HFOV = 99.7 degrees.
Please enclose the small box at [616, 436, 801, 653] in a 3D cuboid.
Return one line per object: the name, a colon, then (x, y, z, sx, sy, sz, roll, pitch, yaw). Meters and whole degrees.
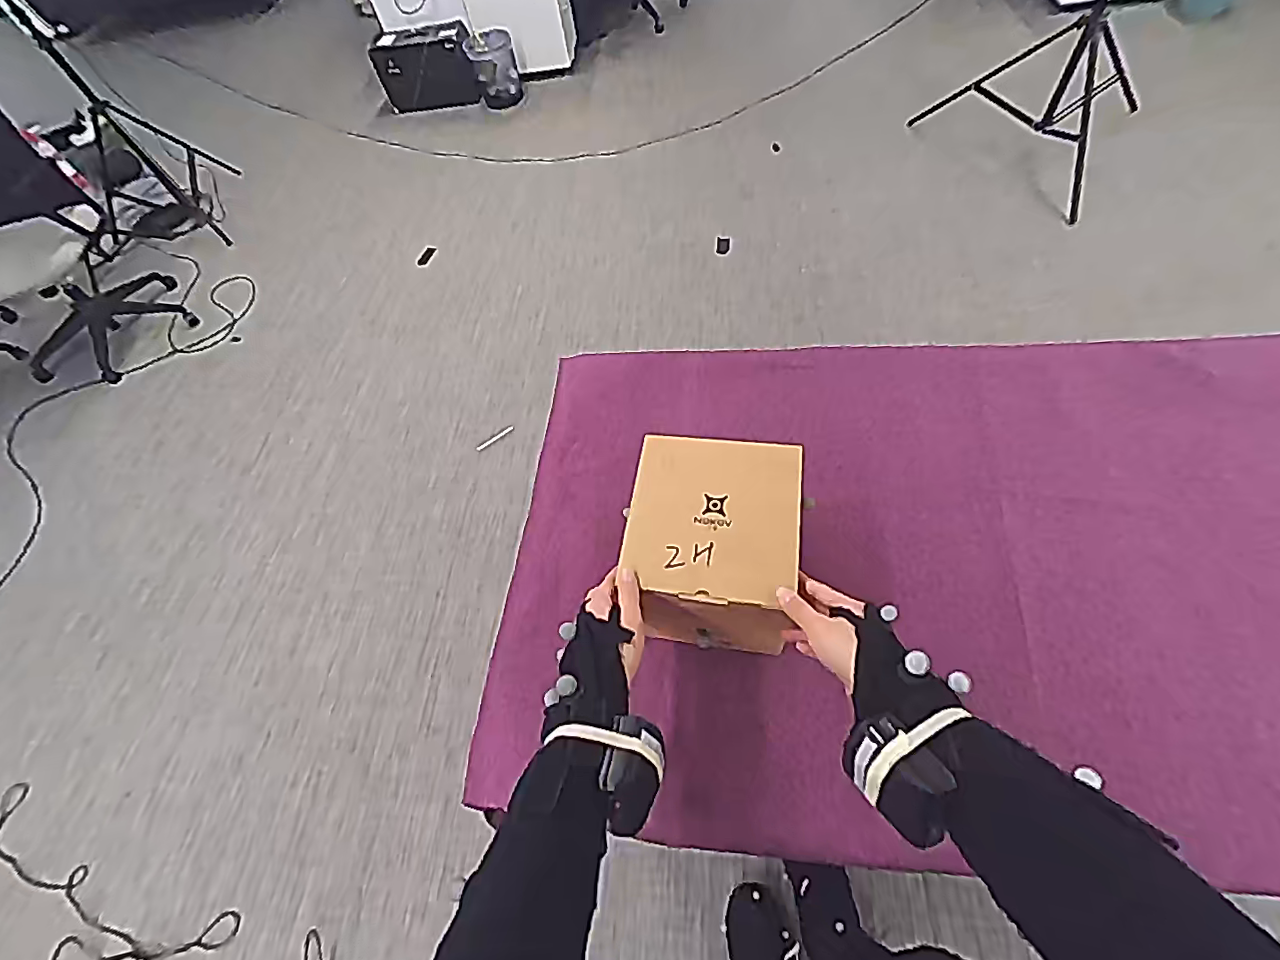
small box: (0.080, 0.074, 0.599, 0.168, 0.176, 0.179, 5, 60, 11)
